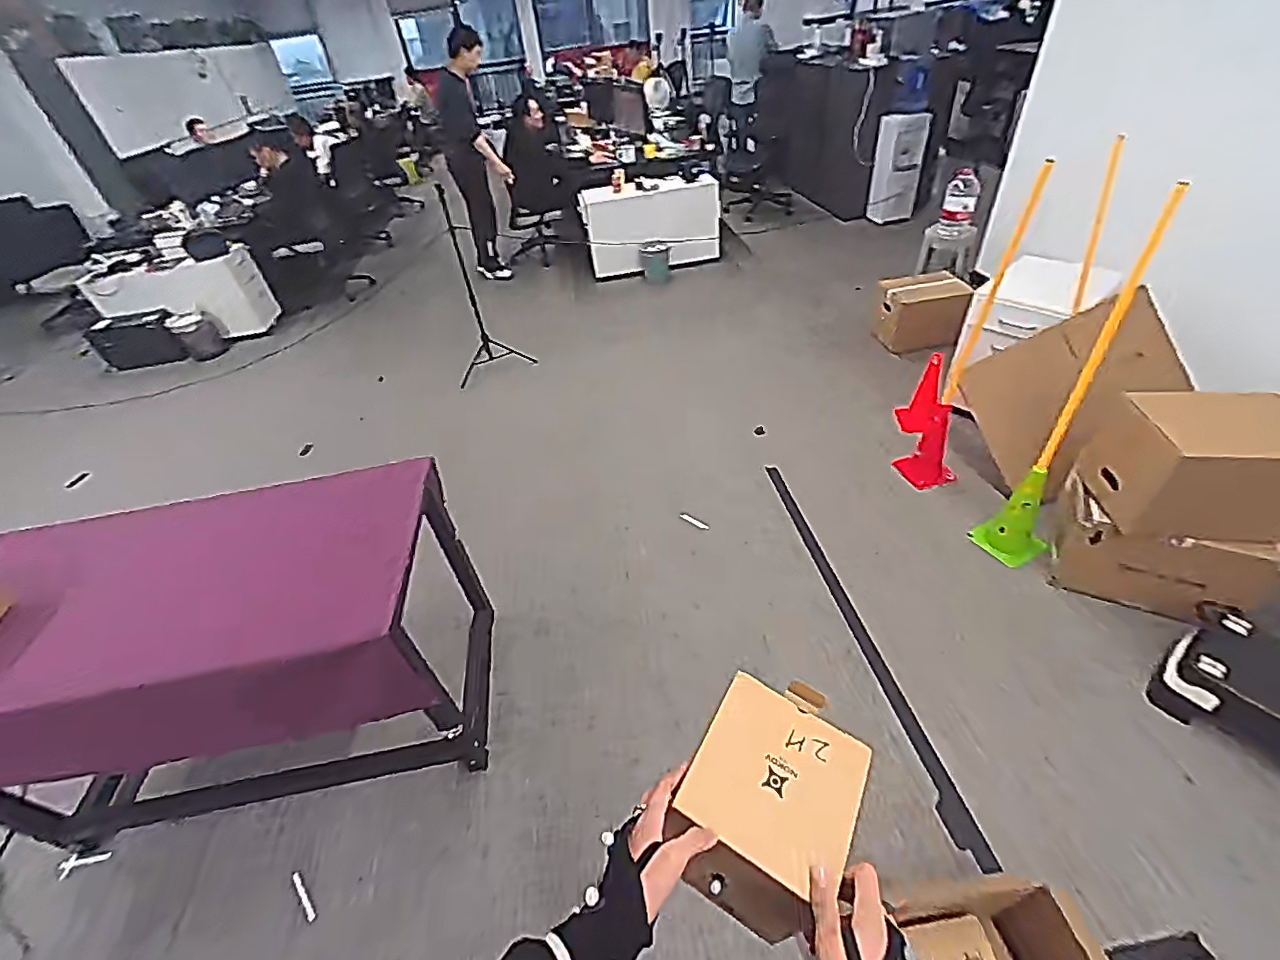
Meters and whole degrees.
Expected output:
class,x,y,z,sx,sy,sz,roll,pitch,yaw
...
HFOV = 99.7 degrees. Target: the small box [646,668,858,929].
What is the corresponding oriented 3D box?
class,x,y,z,sx,sy,sz,roll,pitch,yaw
small box,0.119,0.363,0.618,0.168,0.176,0.179,28,44,16
